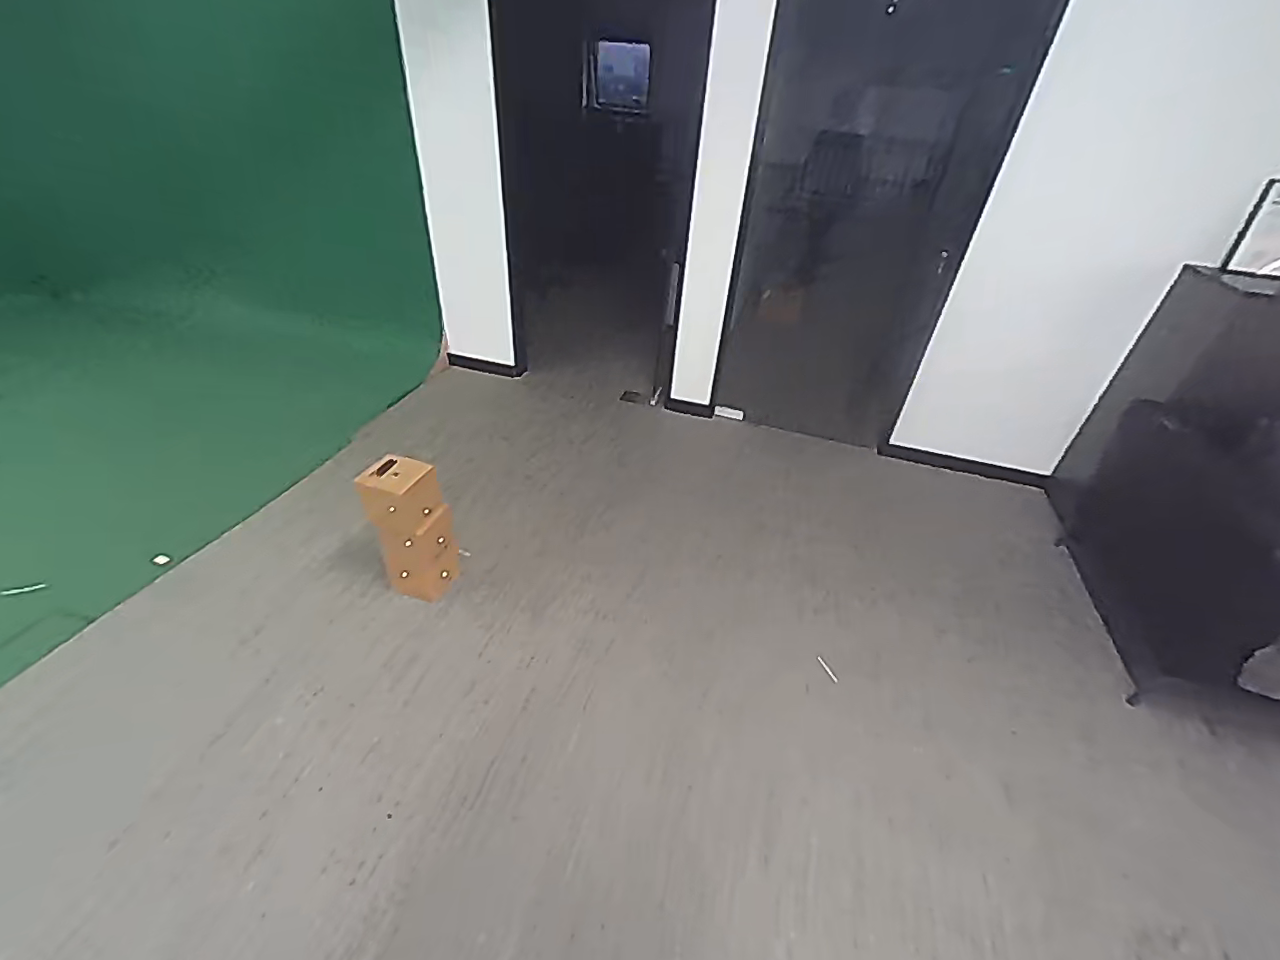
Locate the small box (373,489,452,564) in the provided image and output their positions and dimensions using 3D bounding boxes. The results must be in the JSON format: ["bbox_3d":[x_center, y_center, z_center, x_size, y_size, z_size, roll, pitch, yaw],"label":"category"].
[{"bbox_3d":[-0.755,0.159,1.820,0.179,0.176,0.168,13,38,10],"label":"small box"}]

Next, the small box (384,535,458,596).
[{"bbox_3d":[-0.770,0.287,1.923,0.179,0.176,0.168,12,38,10],"label":"small box"}]
